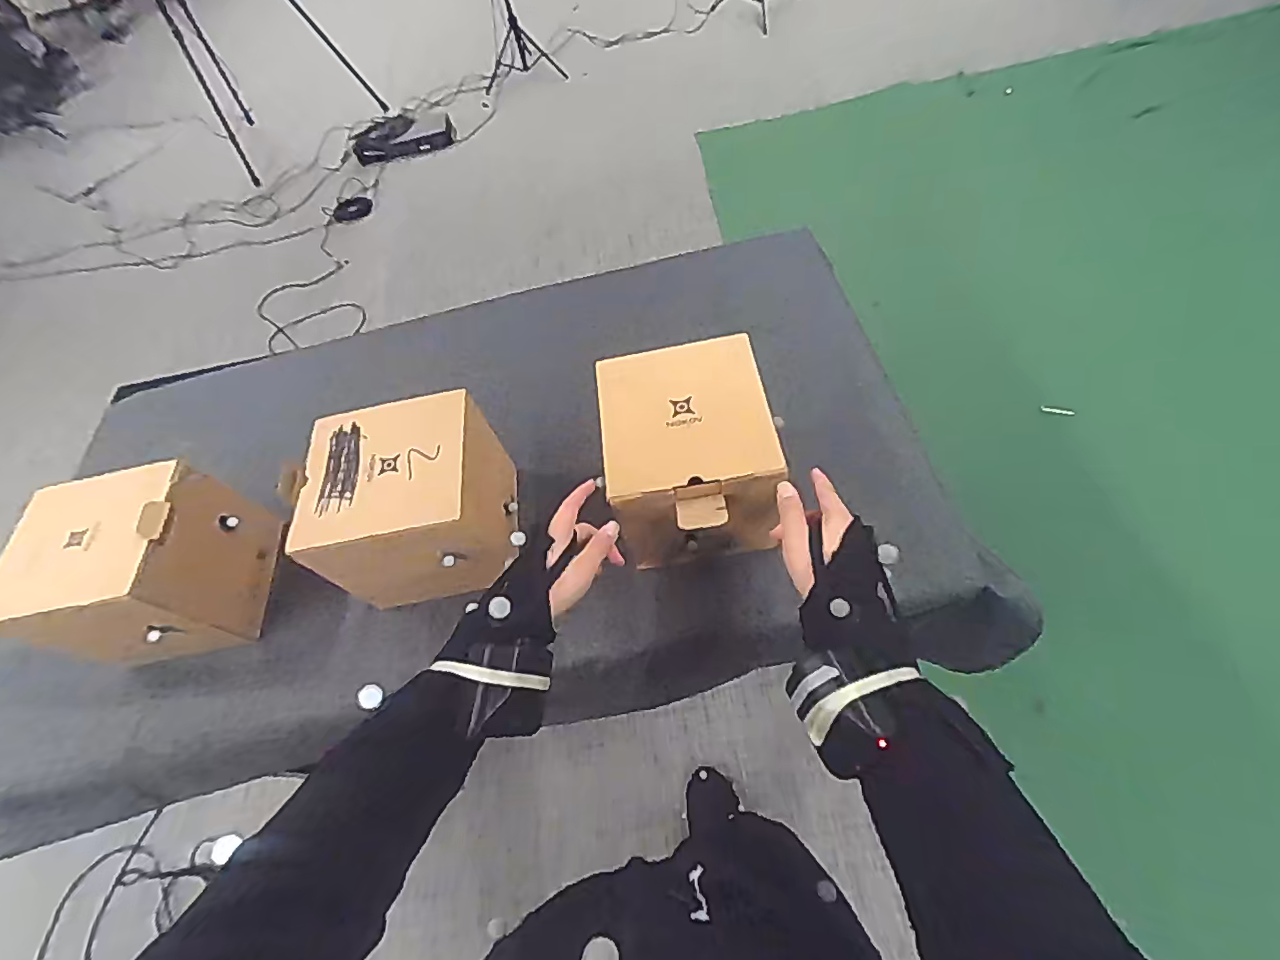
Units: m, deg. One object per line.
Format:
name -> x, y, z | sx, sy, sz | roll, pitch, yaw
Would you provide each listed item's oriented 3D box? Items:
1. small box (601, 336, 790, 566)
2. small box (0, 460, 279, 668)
small box -> 0.056, -0.026, 0.598 | 0.168, 0.176, 0.179 | -10, 59, 4
small box -> -0.564, 0.104, 0.625 | 0.179, 0.176, 0.168 | -13, 57, 3
